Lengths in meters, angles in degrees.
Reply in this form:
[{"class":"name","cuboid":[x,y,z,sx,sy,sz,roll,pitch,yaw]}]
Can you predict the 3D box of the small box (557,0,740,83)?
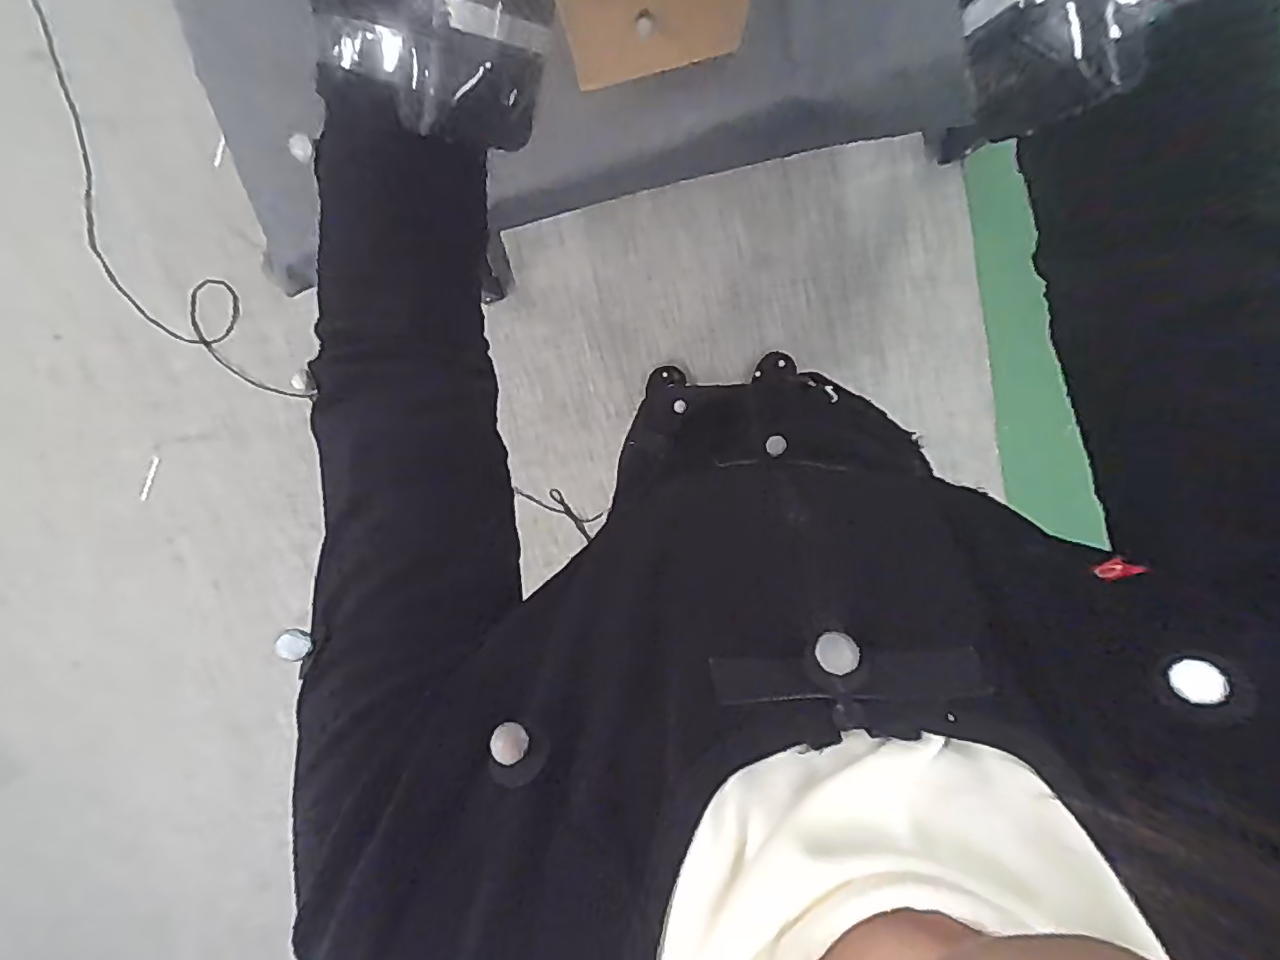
[{"class":"small box","cuboid":[-0.001,-0.508,0.497,0.179,0.176,0.168,-11,101,4]}]
